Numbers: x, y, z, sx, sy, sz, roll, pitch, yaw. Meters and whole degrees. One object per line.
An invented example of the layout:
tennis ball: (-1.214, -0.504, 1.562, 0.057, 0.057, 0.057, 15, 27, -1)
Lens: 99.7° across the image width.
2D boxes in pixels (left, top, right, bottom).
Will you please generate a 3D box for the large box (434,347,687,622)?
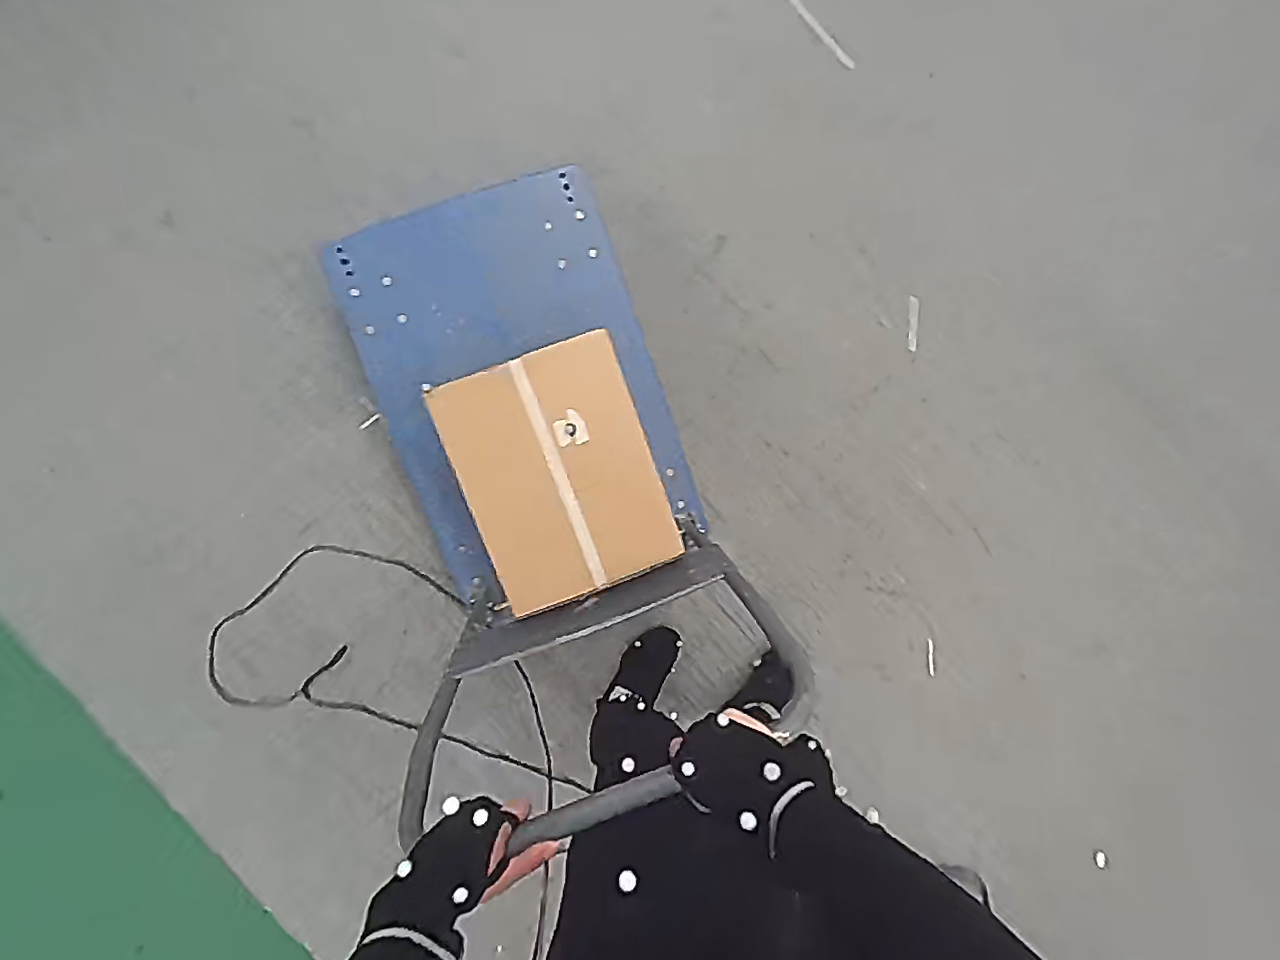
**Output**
large box: (-0.139, -0.001, 1.067, 0.320, 0.320, 0.408, -21, 97, -3)
